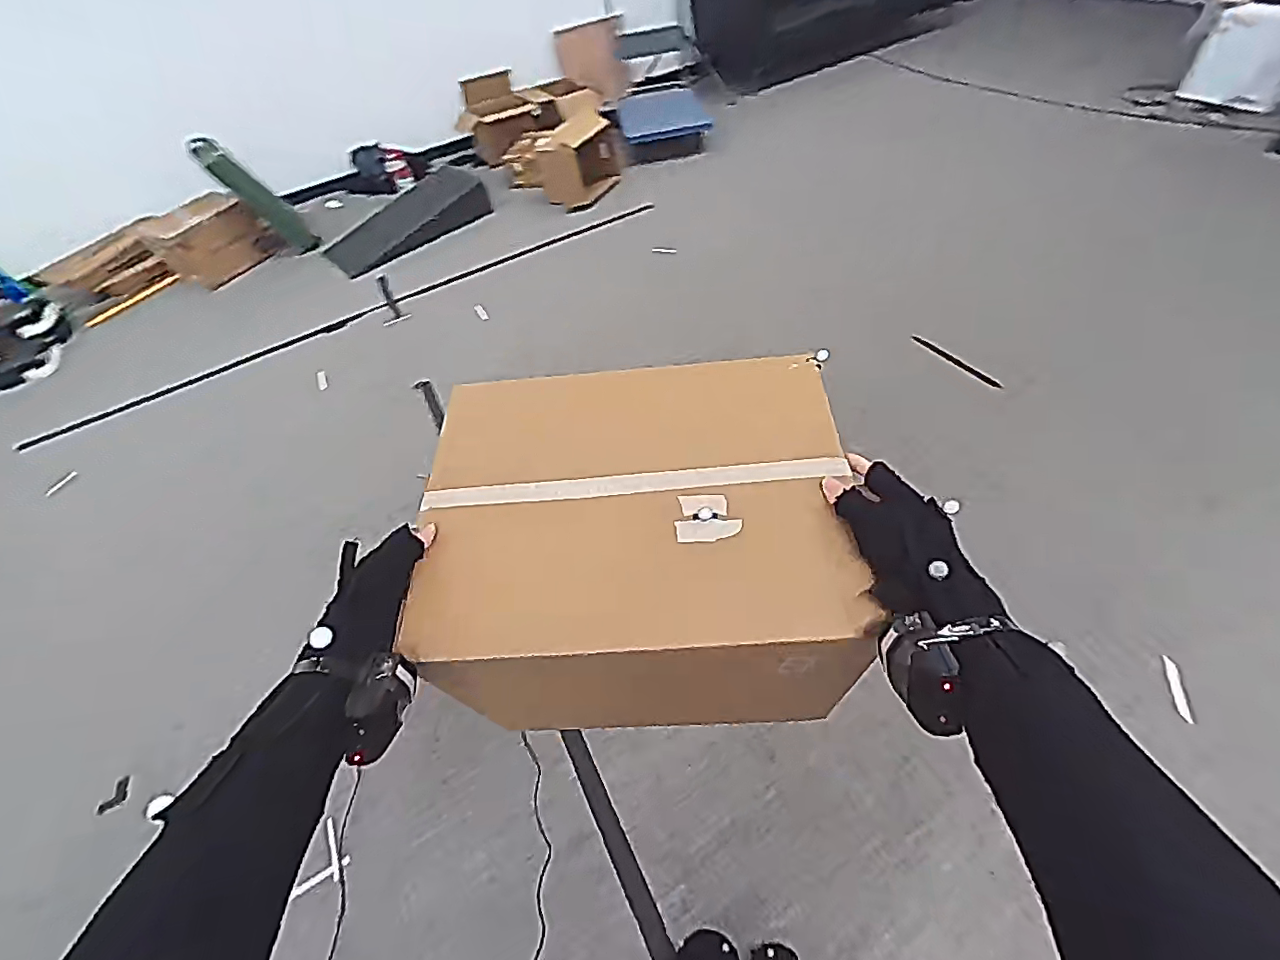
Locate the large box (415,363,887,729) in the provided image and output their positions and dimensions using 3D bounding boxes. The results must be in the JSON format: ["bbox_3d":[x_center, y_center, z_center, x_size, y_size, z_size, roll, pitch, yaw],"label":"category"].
[{"bbox_3d":[0.010,0.094,0.652,0.408,0.320,0.320,-5,56,3],"label":"large box"}]
